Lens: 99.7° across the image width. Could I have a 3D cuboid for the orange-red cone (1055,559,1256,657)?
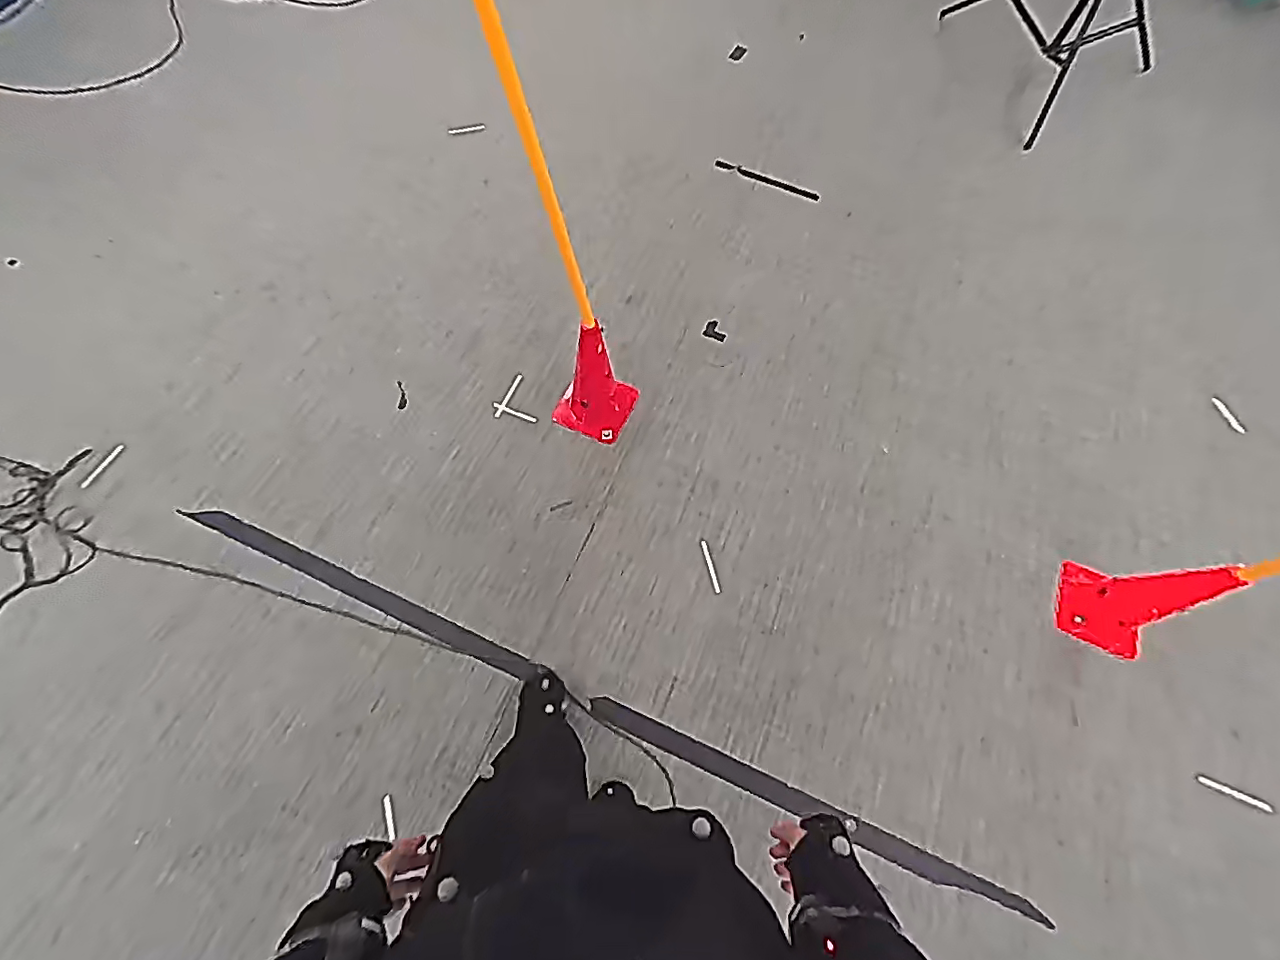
[{"bbox_3d":[1.165,0.250,1.203,0.199,0.360,0.198,26,68,8],"label":"orange-red cone"}]
